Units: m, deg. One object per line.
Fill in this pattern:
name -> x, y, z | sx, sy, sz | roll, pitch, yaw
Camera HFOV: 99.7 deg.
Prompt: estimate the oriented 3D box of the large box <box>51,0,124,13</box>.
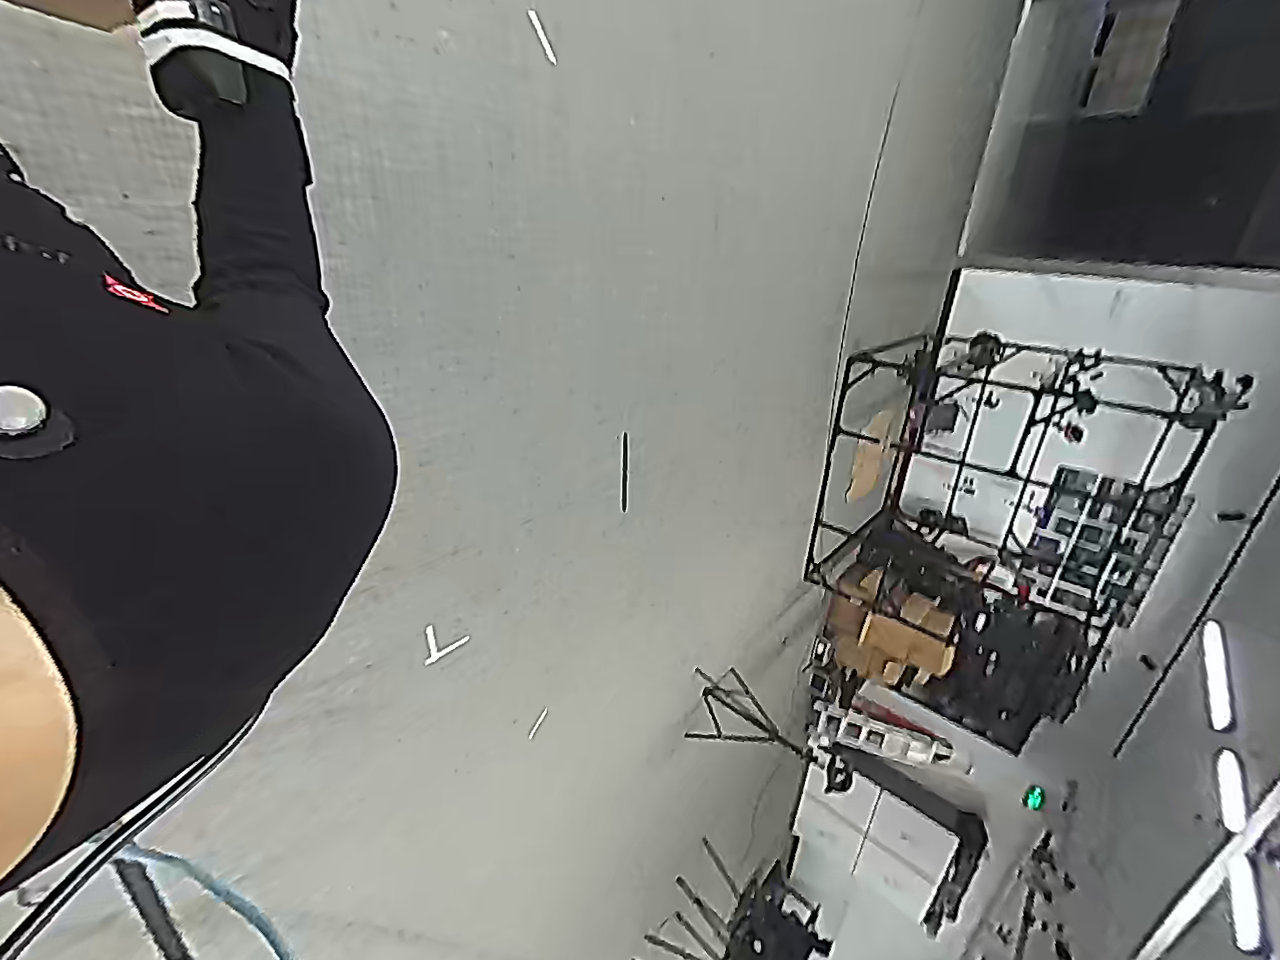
large box -> -0.527, -0.502, 0.253 | 0.408, 0.320, 0.320 | -18, 127, -48
